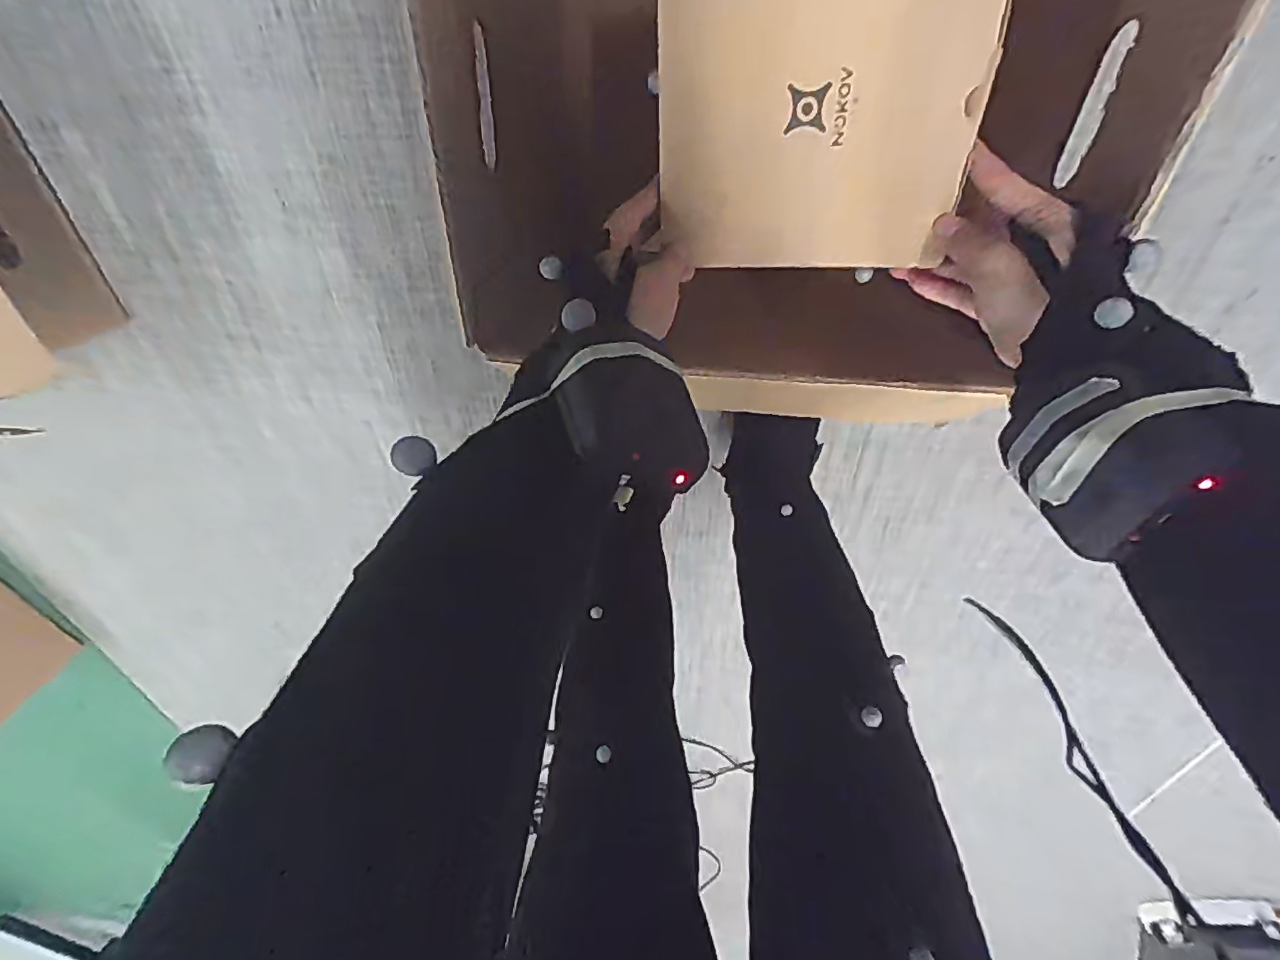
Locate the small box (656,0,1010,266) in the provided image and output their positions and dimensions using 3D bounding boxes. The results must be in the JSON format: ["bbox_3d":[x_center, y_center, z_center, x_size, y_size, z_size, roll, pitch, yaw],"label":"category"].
[{"bbox_3d":[0.107,-0.245,0.362,0.179,0.176,0.168,2,122,7],"label":"small box"}]
